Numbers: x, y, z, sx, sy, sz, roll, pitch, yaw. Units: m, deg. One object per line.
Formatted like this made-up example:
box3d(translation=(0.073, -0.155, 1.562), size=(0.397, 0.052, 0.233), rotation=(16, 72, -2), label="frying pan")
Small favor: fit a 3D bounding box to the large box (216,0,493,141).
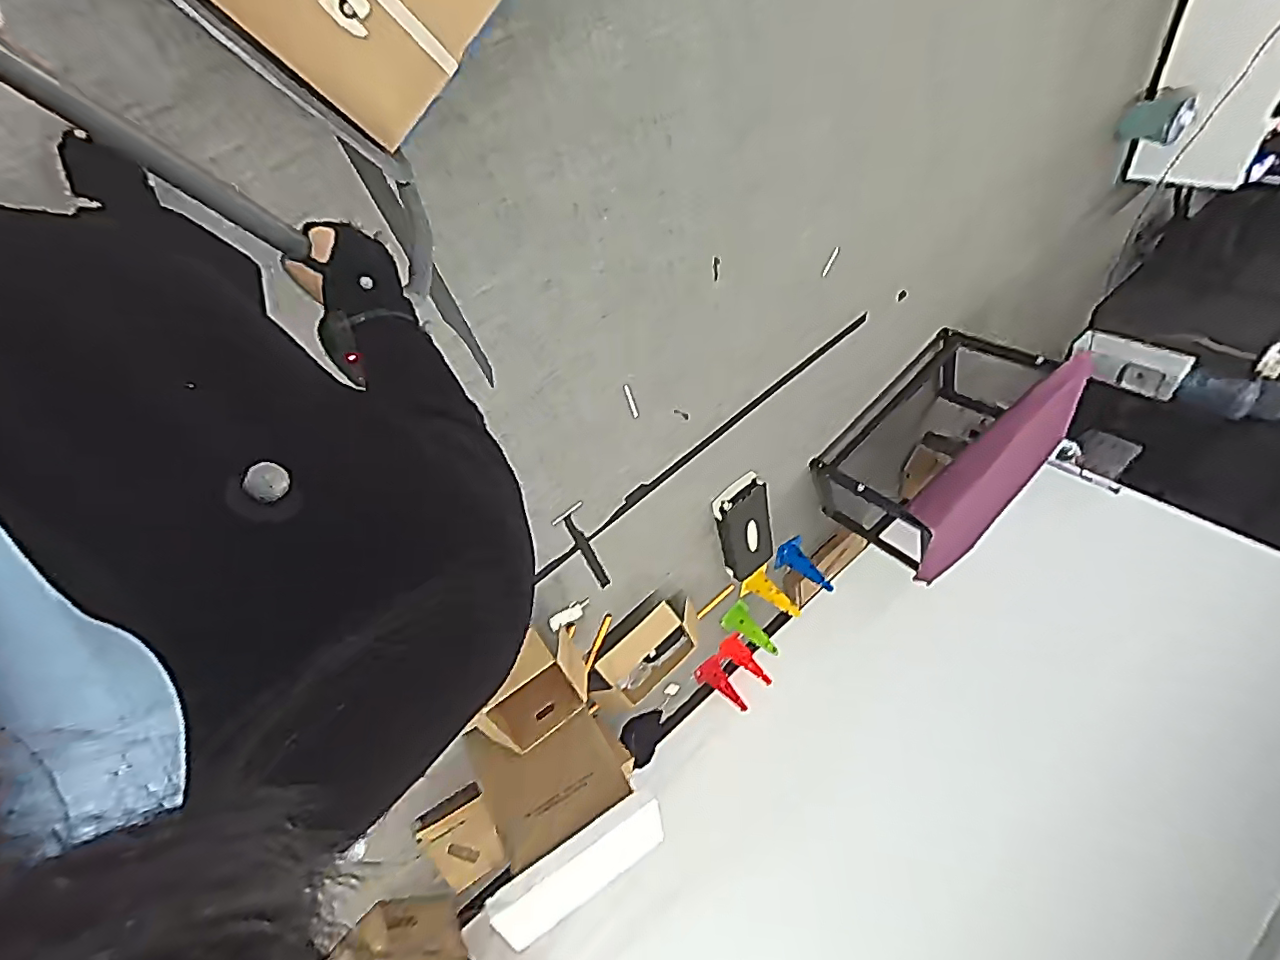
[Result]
box3d(translation=(-0.469, -0.792, 0.757), size=(0.320, 0.320, 0.408), rotation=(-44, 141, 14), label="large box")
